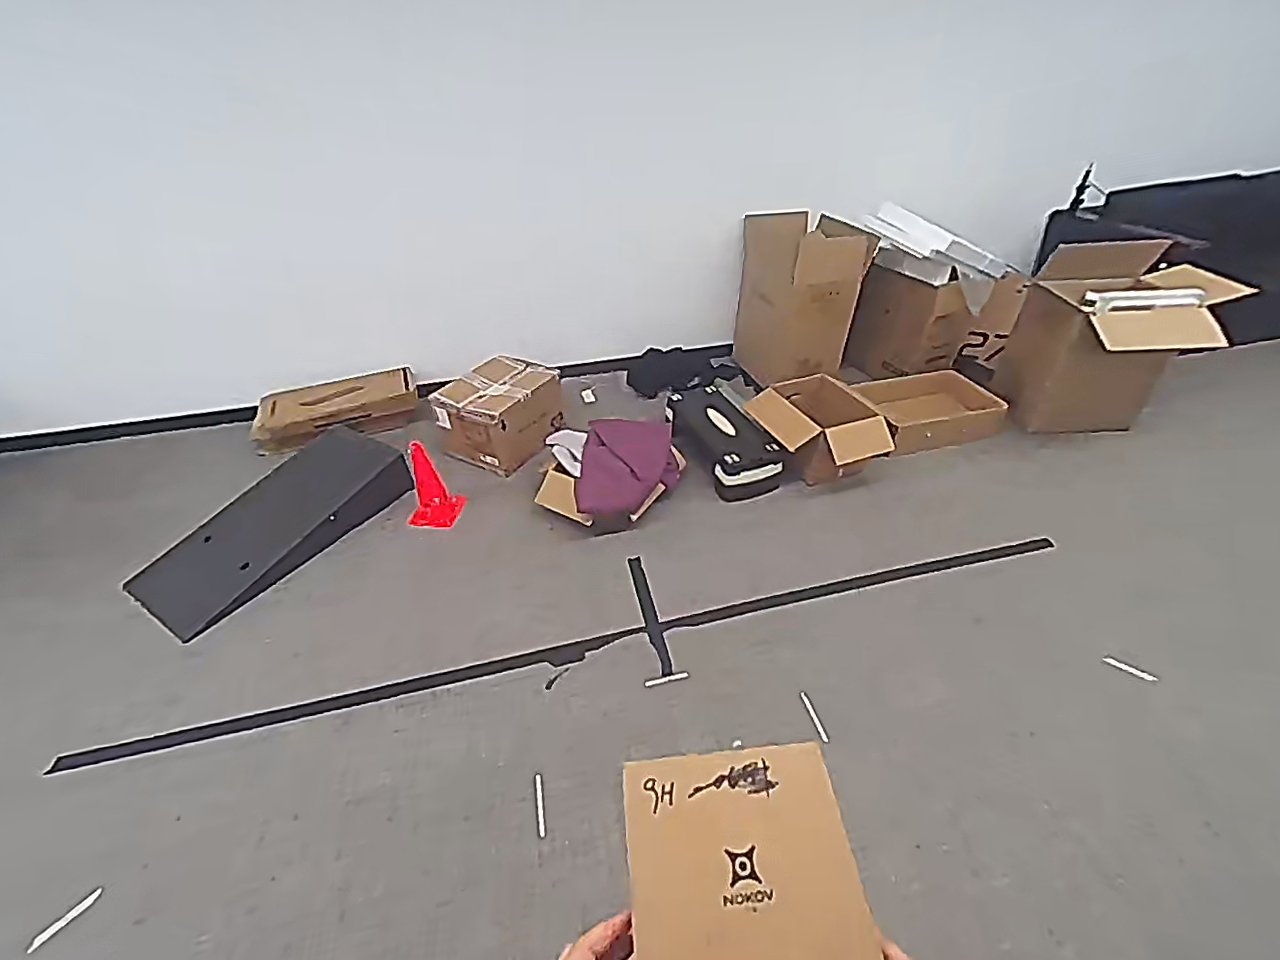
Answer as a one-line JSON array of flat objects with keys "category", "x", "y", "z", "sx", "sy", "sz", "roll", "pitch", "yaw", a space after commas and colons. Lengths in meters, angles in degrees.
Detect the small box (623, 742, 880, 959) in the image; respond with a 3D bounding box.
[{"category": "small box", "x": 0.078, "y": 0.342, "z": 0.449, "sx": 0.168, "sy": 0.176, "sz": 0.179, "roll": -5, "pitch": 48, "yaw": -3}]
